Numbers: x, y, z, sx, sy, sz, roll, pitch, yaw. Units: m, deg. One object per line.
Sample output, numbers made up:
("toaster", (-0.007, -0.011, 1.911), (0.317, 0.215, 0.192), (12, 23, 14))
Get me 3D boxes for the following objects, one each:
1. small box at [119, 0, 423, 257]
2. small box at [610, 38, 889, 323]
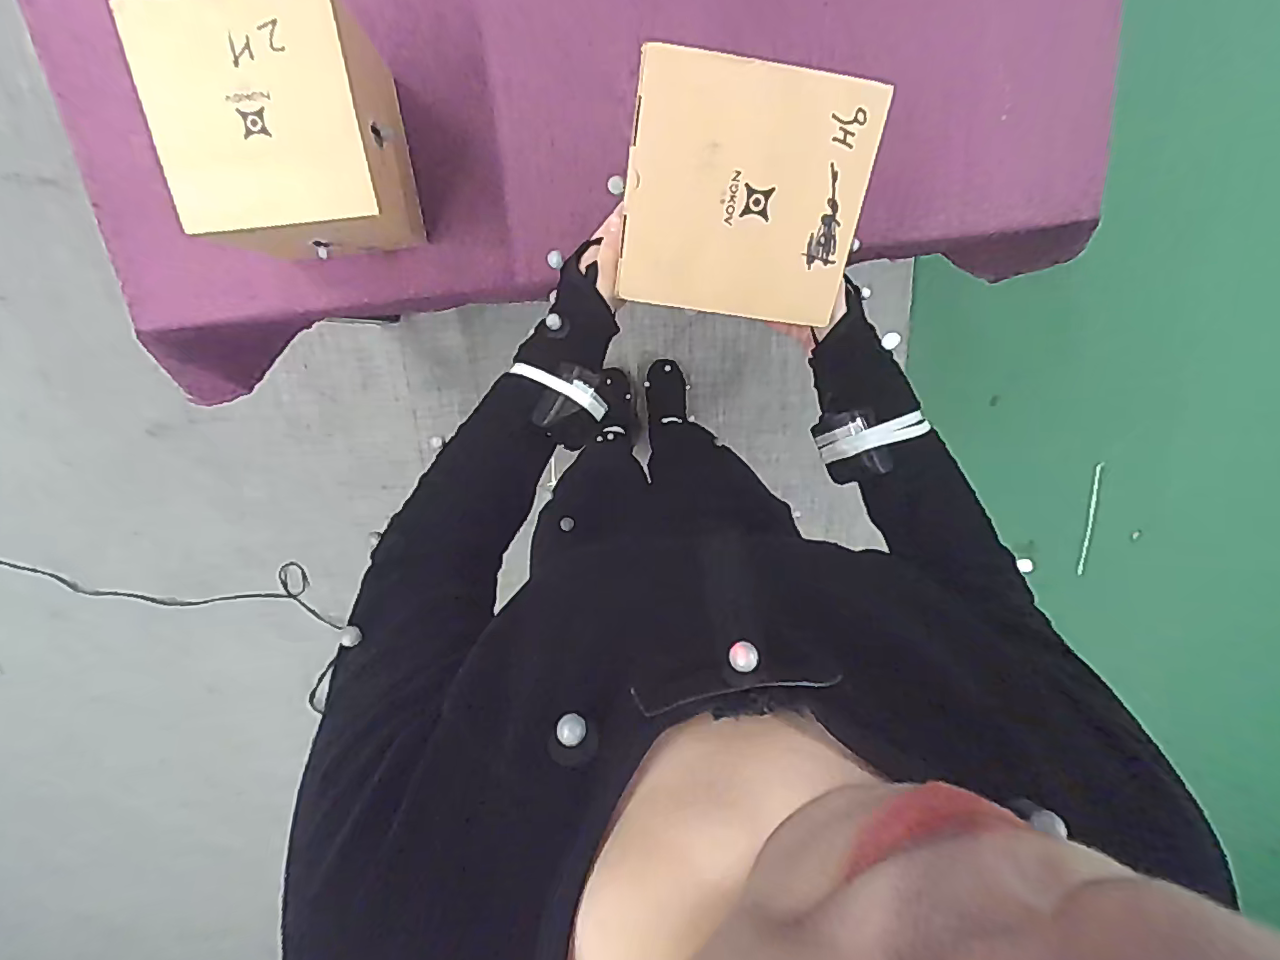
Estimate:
("small box", (-0.329, -0.323, 0.529), (0.168, 0.176, 0.179), (-8, 105, -5))
("small box", (0.074, -0.243, 0.470), (0.179, 0.176, 0.168), (7, 114, -4))
